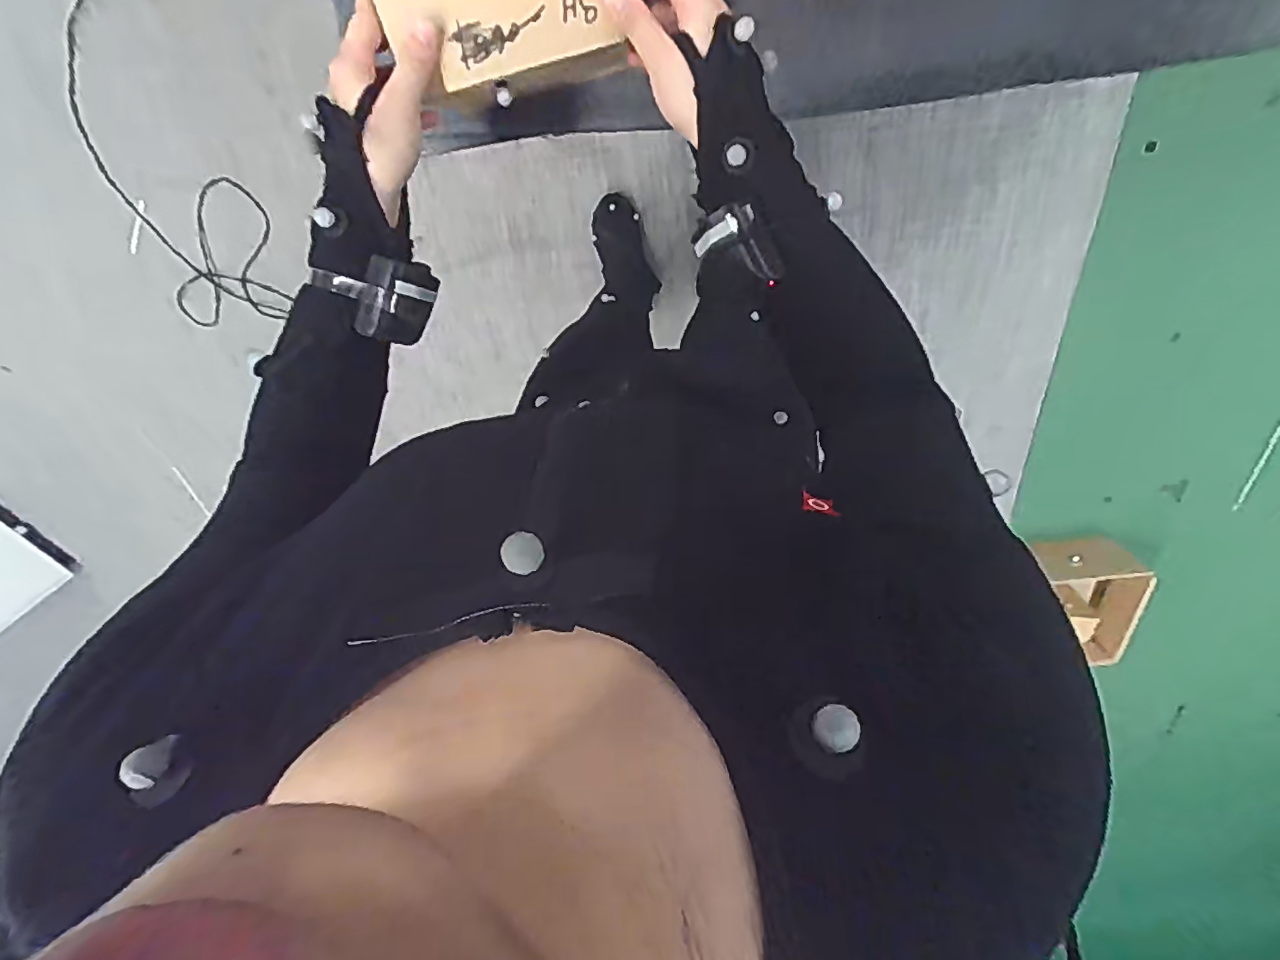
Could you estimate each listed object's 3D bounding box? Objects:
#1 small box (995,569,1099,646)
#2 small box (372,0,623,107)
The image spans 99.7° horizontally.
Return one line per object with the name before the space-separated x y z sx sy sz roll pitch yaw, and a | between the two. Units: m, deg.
small box | 1.276 0.399 1.714 0.179 0.176 0.168 4 124 0
small box | -0.112 -0.414 0.418 0.168 0.176 0.179 -11 122 7
